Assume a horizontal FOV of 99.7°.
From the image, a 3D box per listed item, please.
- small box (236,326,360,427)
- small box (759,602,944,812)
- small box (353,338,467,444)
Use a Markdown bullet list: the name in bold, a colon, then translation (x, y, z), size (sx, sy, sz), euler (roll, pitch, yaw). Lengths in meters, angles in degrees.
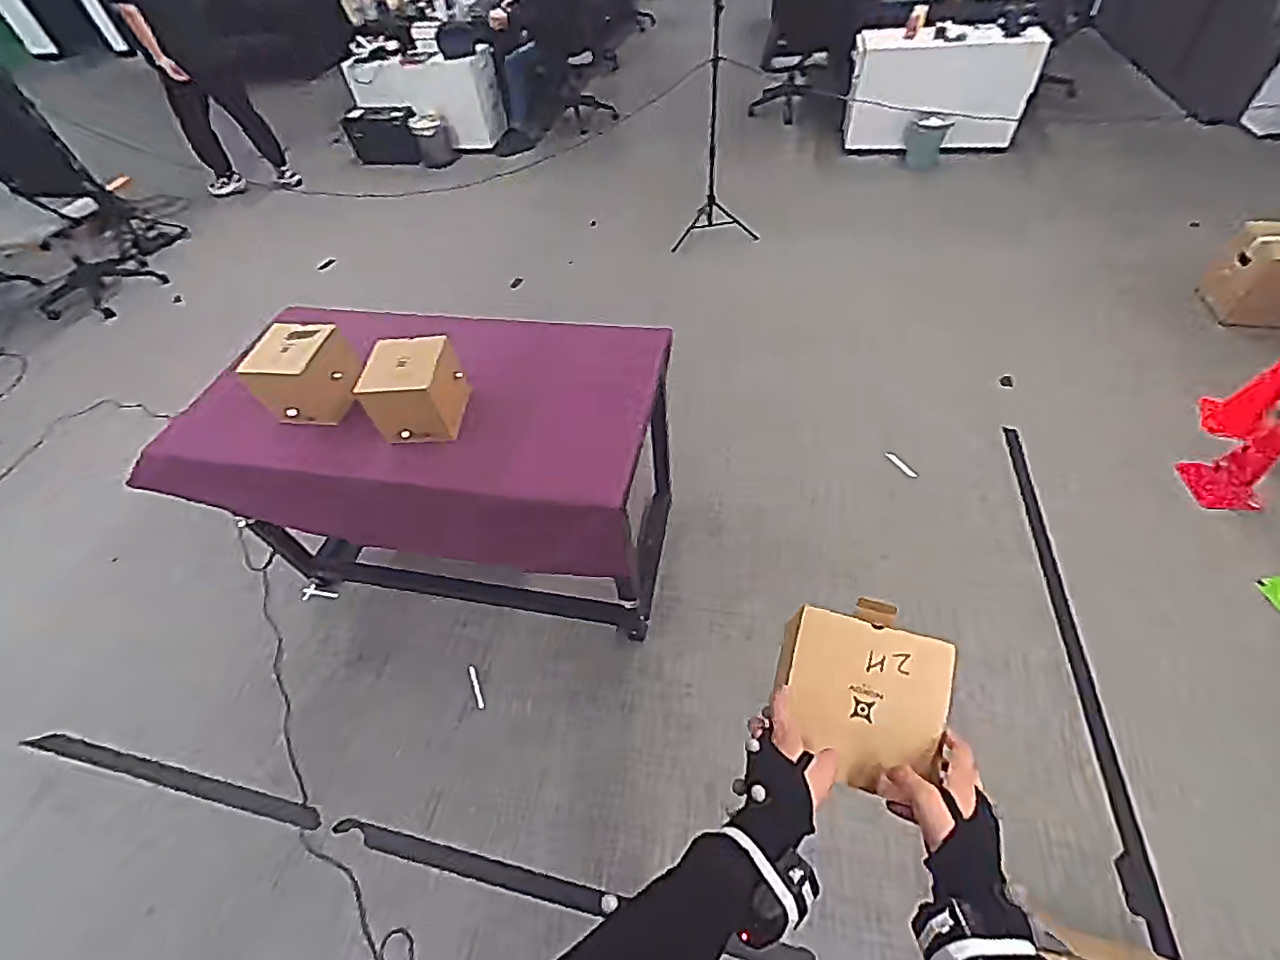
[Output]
- **small box**: translation (-0.809, -0.250, 1.310), size (0.168, 0.176, 0.179), euler (3, 53, 8)
- **small box**: translation (0.244, 0.266, 0.658), size (0.168, 0.176, 0.179), euler (13, 70, 13)
- **small box**: translation (-0.514, -0.203, 1.243), size (0.168, 0.176, 0.179), euler (-3, 51, 5)
